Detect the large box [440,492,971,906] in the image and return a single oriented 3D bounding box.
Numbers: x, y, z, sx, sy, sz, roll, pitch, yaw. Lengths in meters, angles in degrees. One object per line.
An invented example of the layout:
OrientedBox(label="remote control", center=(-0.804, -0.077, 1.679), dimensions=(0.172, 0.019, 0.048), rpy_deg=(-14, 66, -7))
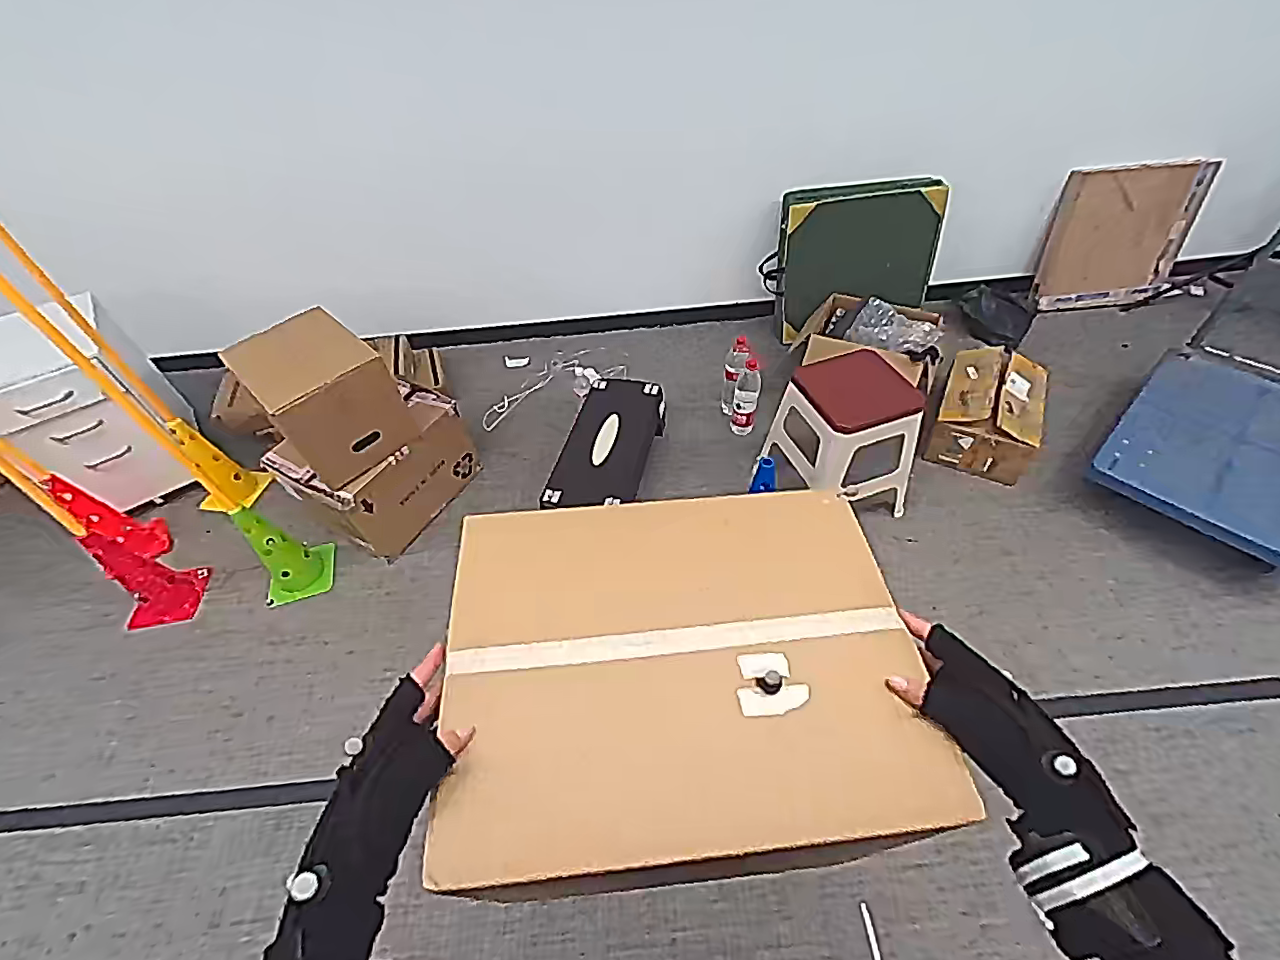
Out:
OrientedBox(label="large box", center=(0.034, 0.241, 0.596), dimensions=(0.408, 0.320, 0.320), rpy_deg=(-4, 51, -5))
